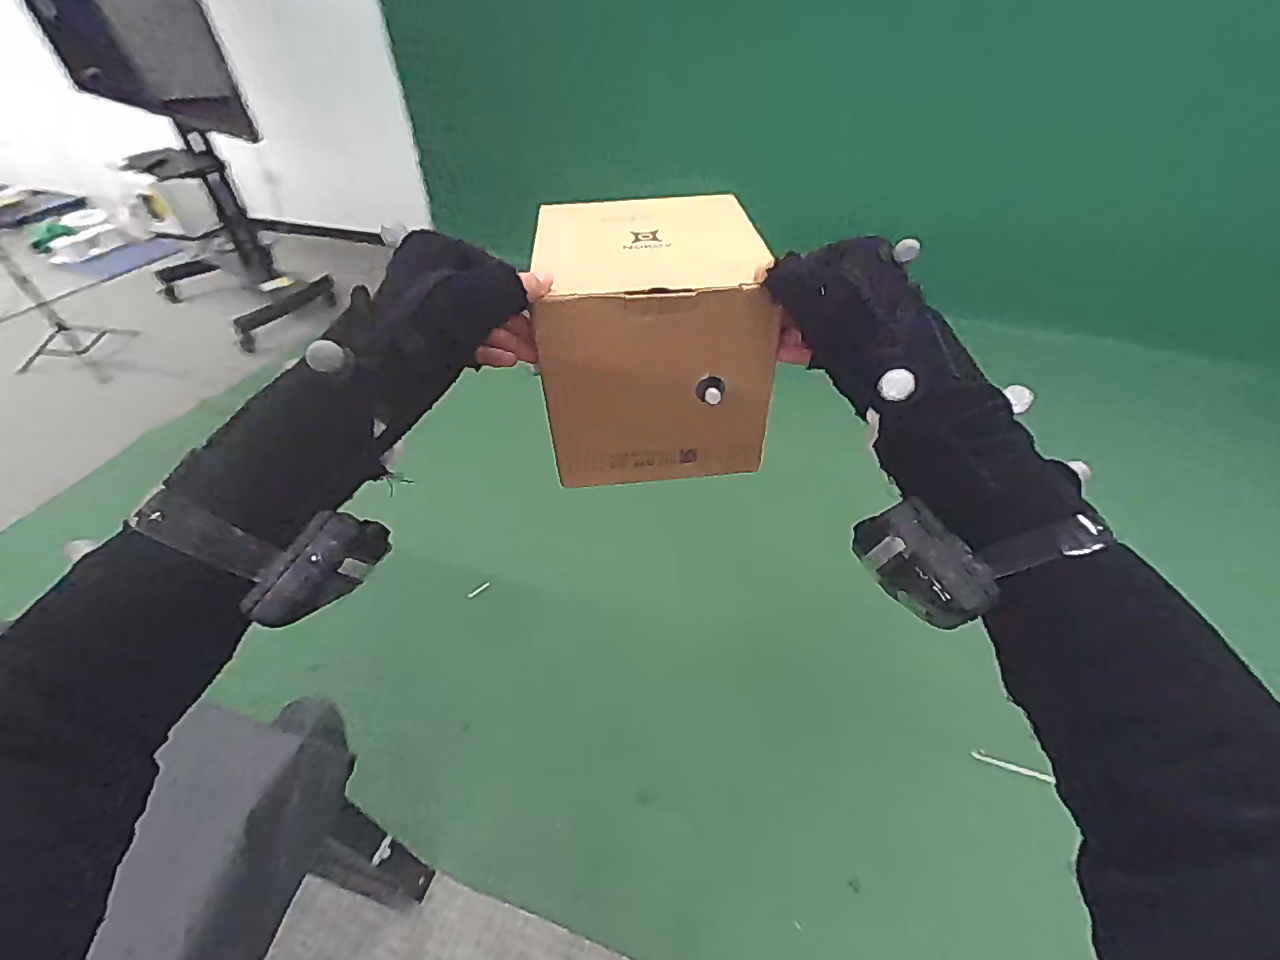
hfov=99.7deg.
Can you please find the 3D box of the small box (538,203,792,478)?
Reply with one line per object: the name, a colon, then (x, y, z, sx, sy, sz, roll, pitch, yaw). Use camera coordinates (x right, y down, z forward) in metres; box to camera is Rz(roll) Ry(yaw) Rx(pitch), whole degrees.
small box: (0.014, -0.113, 0.453, 0.168, 0.176, 0.179, -3, 43, -3)
